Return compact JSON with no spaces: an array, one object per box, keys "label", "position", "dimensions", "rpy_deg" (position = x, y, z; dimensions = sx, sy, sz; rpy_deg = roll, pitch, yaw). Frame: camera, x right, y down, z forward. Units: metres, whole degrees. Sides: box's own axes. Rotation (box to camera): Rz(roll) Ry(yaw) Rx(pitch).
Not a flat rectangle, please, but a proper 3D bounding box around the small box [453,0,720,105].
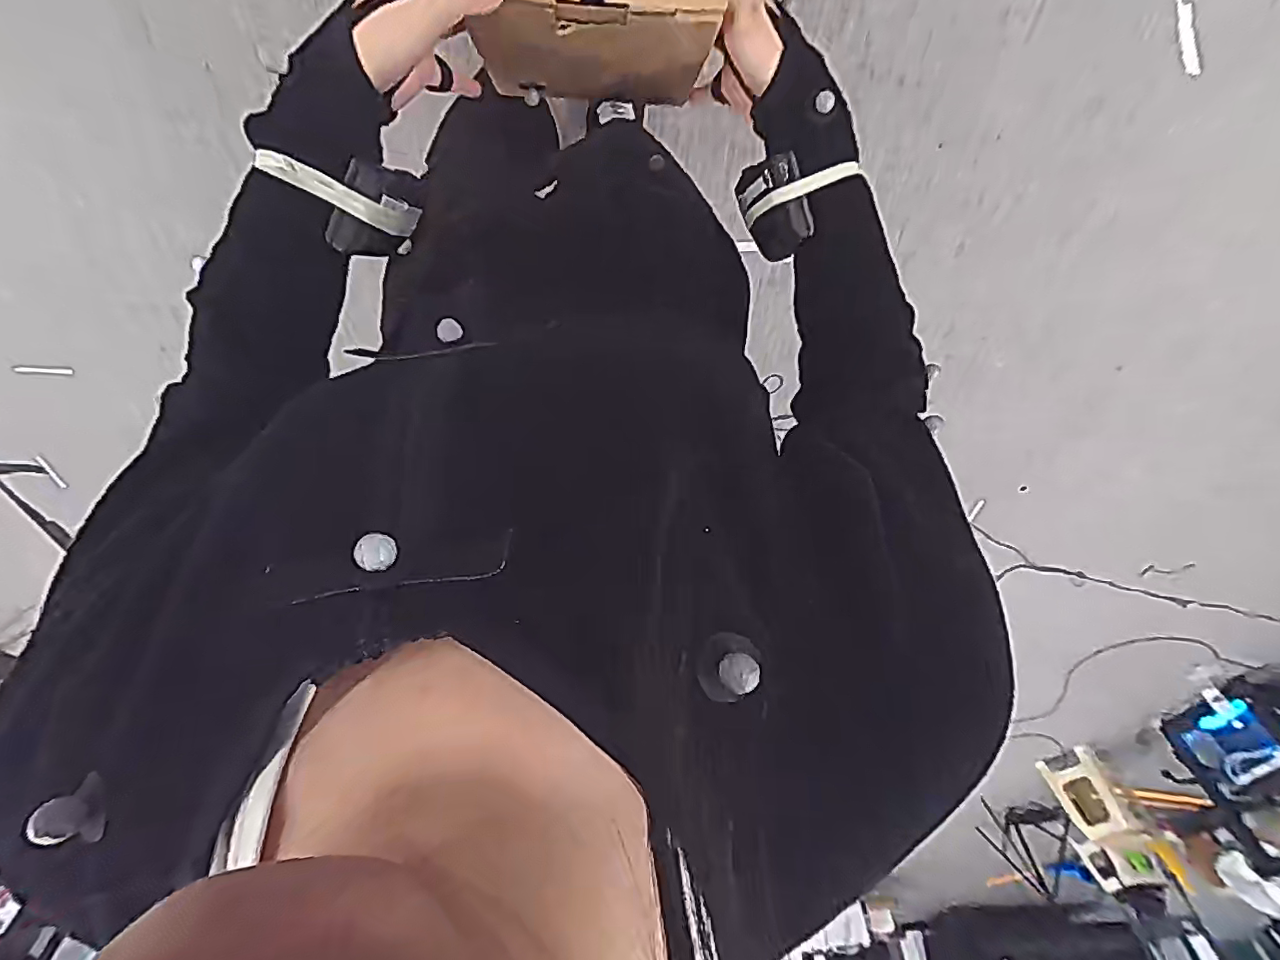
[{"label":"small box","position":[-0.033,-0.389,0.374],"dimensions":[0.168,0.176,0.179],"rpy_deg":[1,107,-6]}]
